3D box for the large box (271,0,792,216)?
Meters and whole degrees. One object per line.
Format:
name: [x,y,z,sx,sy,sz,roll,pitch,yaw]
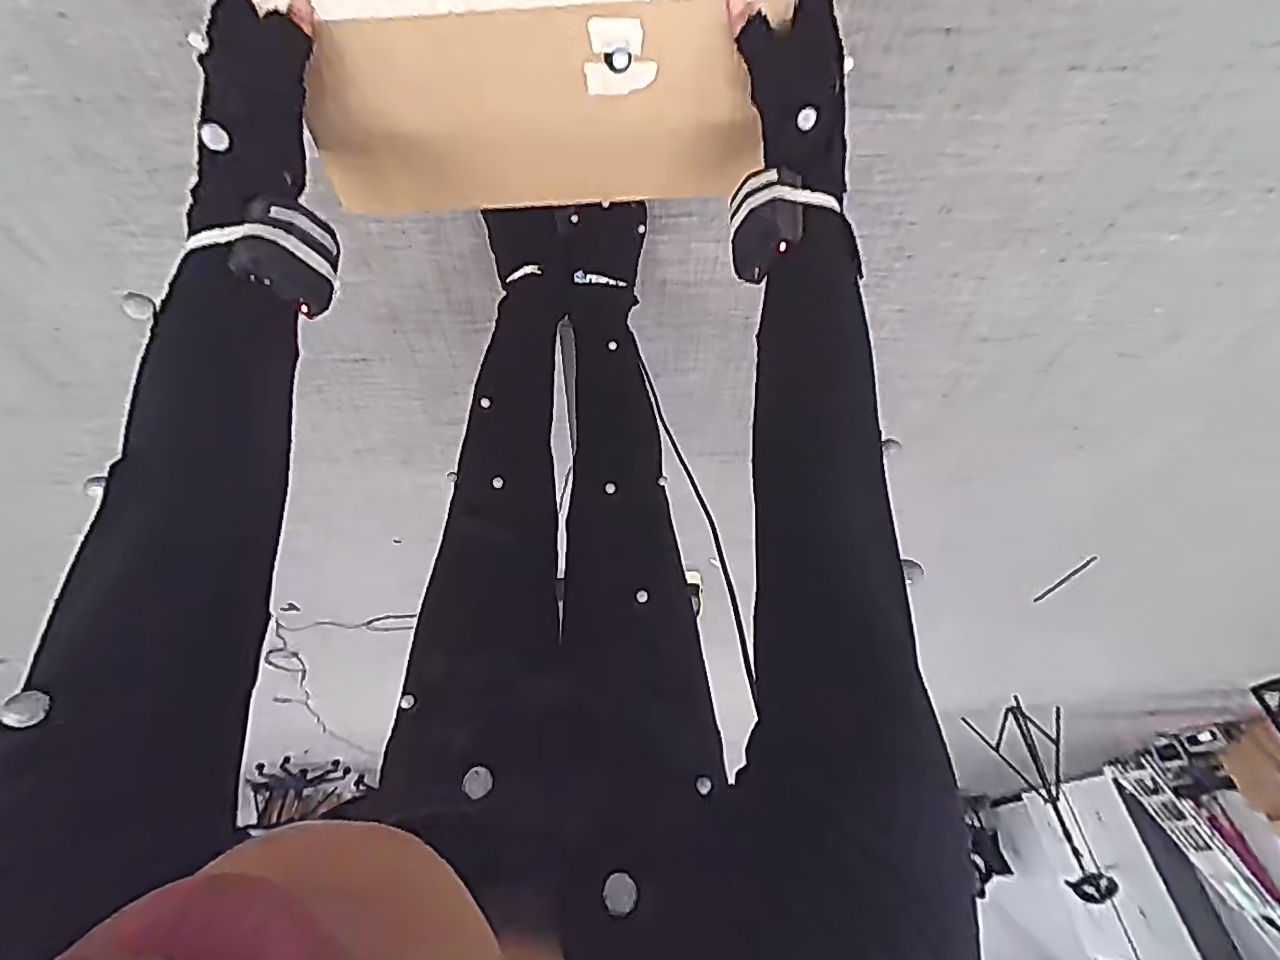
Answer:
large box: [-0.090,-0.481,0.507,0.408,0.320,0.320,-4,138,0]
